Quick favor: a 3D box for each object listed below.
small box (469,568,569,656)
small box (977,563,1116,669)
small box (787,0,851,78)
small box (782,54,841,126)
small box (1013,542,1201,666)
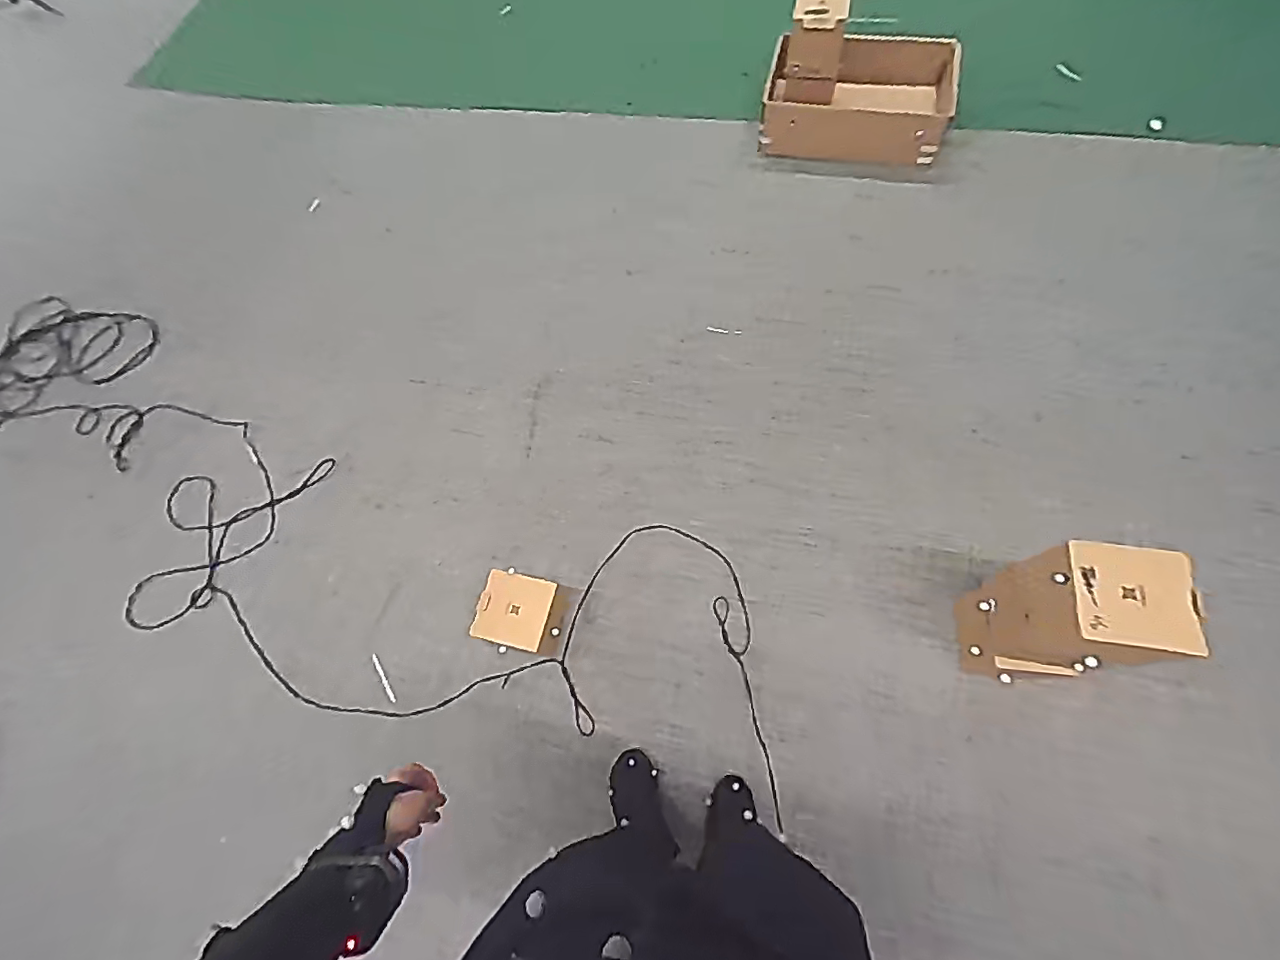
[{"bbox_3d":[-0.291,0.334,1.349,0.179,0.176,0.168,11,68,11],"label":"small box"},{"bbox_3d":[0.812,0.279,1.087,0.179,0.176,0.168,7,67,10],"label":"small box"},{"bbox_3d":[0.586,-1.462,1.778,0.168,0.176,0.179,10,68,9],"label":"small box"},{"bbox_3d":[0.609,-1.409,1.932,0.168,0.176,0.179,9,69,10],"label":"small box"},{"bbox_3d":[0.789,0.220,0.935,0.179,0.176,0.168,8,67,8],"label":"small box"}]
